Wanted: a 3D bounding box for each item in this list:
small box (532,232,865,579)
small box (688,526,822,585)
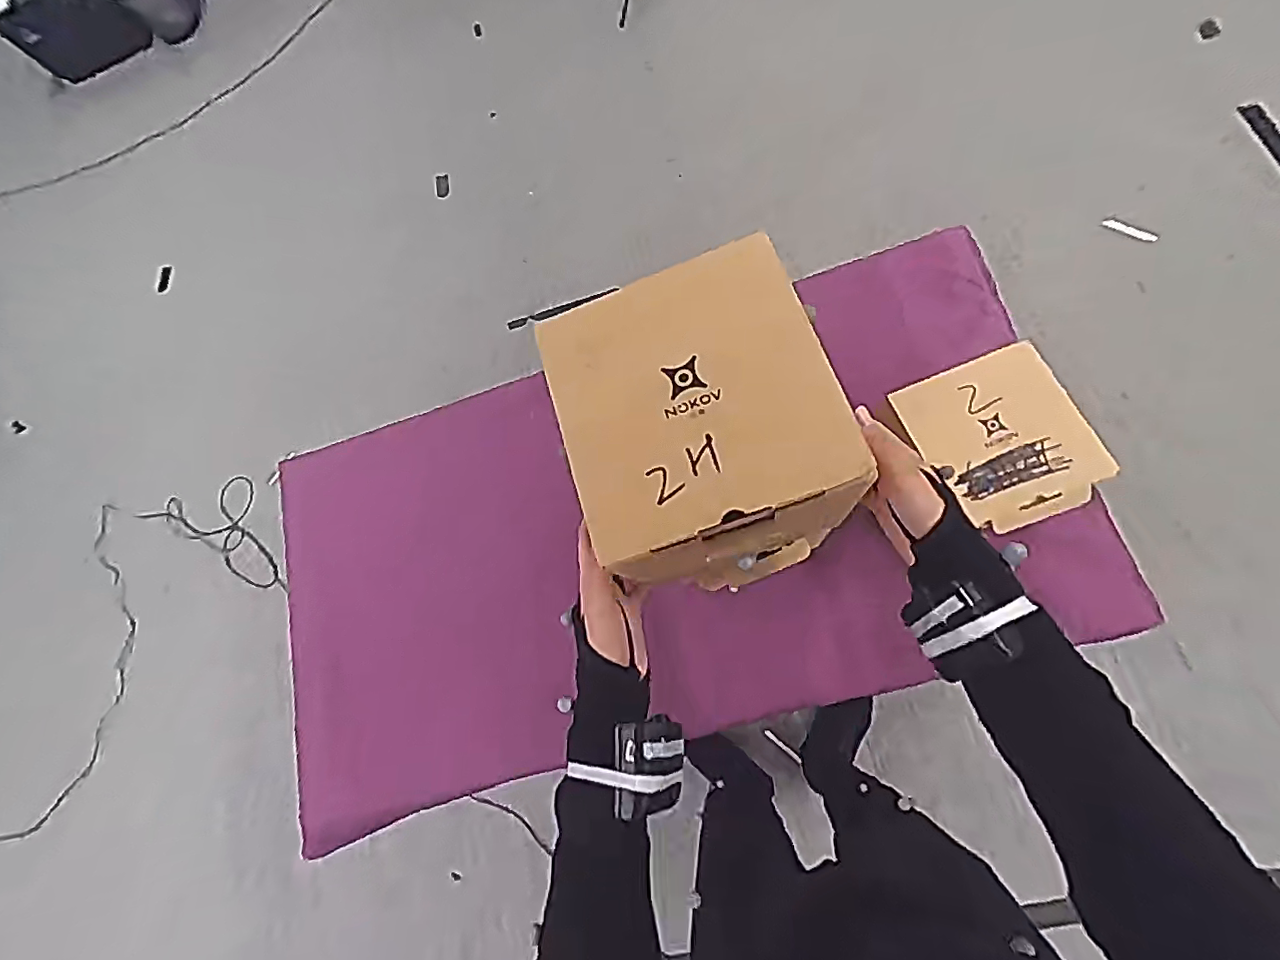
[{"bbox_3d":[0.042,-0.036,0.406,0.168,0.176,0.179,-20,72,8],"label":"small box"},{"bbox_3d":[0.123,0.031,0.717,0.168,0.176,0.179,-25,71,6],"label":"small box"}]
